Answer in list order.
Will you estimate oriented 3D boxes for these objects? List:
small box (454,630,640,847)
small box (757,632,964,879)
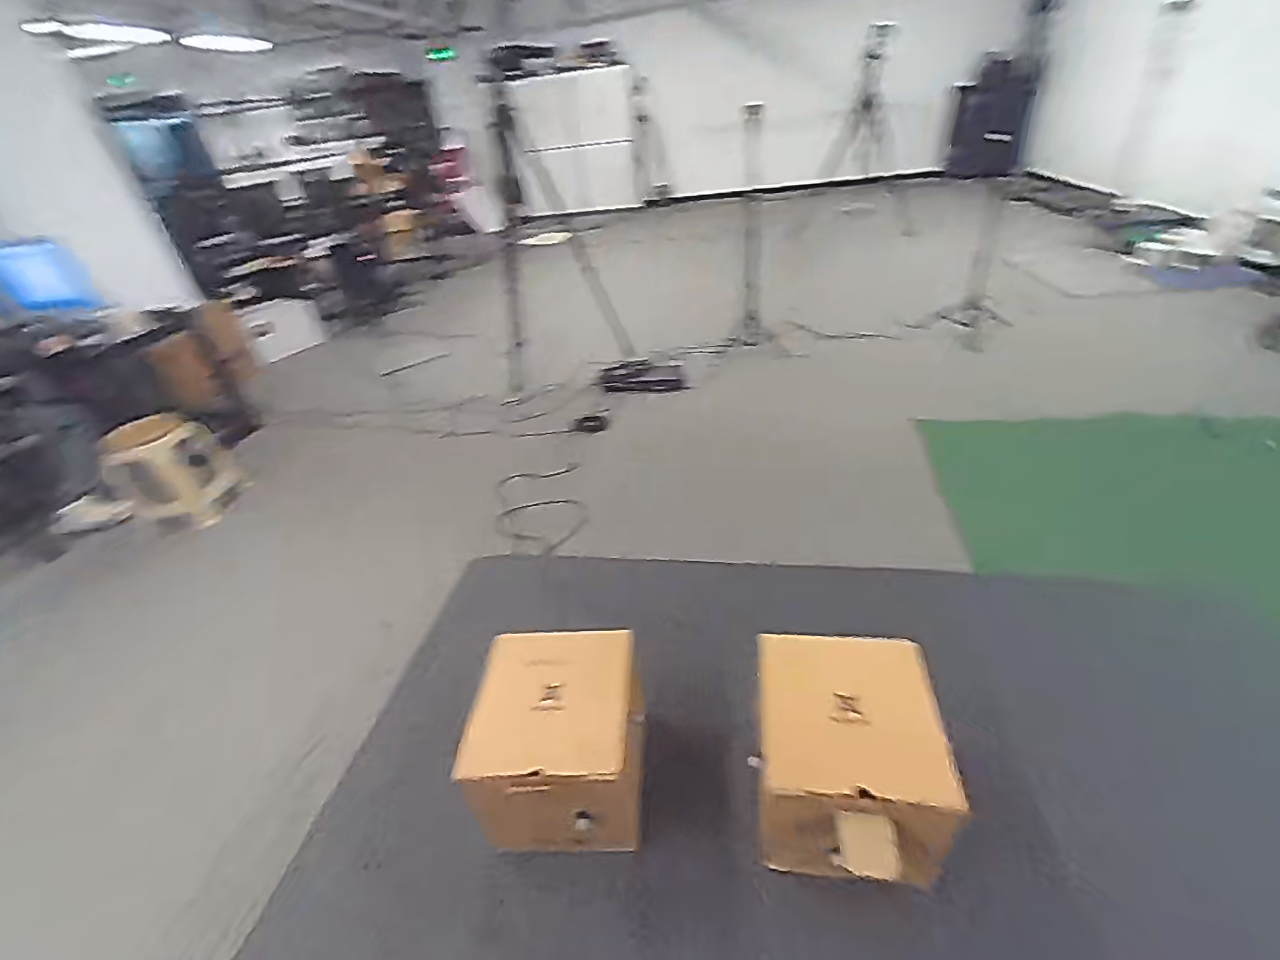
[{"bbox_3d":[-0.090,0.301,0.630,0.168,0.176,0.179,-3,34,4],"label":"small box"},{"bbox_3d":[0.215,0.290,0.585,0.168,0.176,0.179,-1,36,10],"label":"small box"}]
